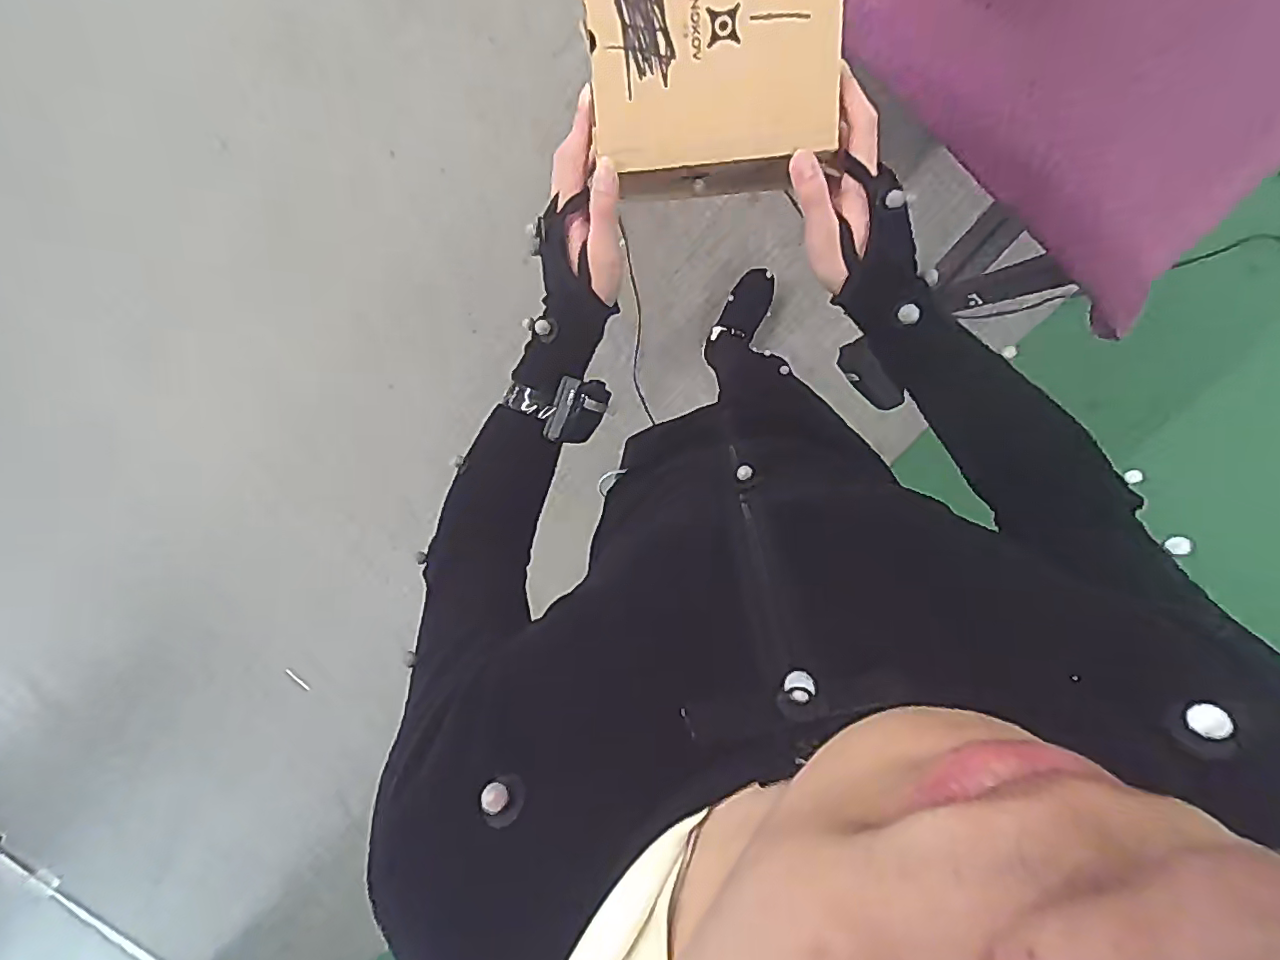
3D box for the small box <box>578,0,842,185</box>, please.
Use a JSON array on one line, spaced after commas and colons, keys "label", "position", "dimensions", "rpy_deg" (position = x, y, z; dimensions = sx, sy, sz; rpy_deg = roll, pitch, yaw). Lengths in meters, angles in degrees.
[{"label": "small box", "position": [0.052, -0.345, 0.430], "dimensions": [0.179, 0.176, 0.168], "rpy_deg": [-2, 110, 6]}]
